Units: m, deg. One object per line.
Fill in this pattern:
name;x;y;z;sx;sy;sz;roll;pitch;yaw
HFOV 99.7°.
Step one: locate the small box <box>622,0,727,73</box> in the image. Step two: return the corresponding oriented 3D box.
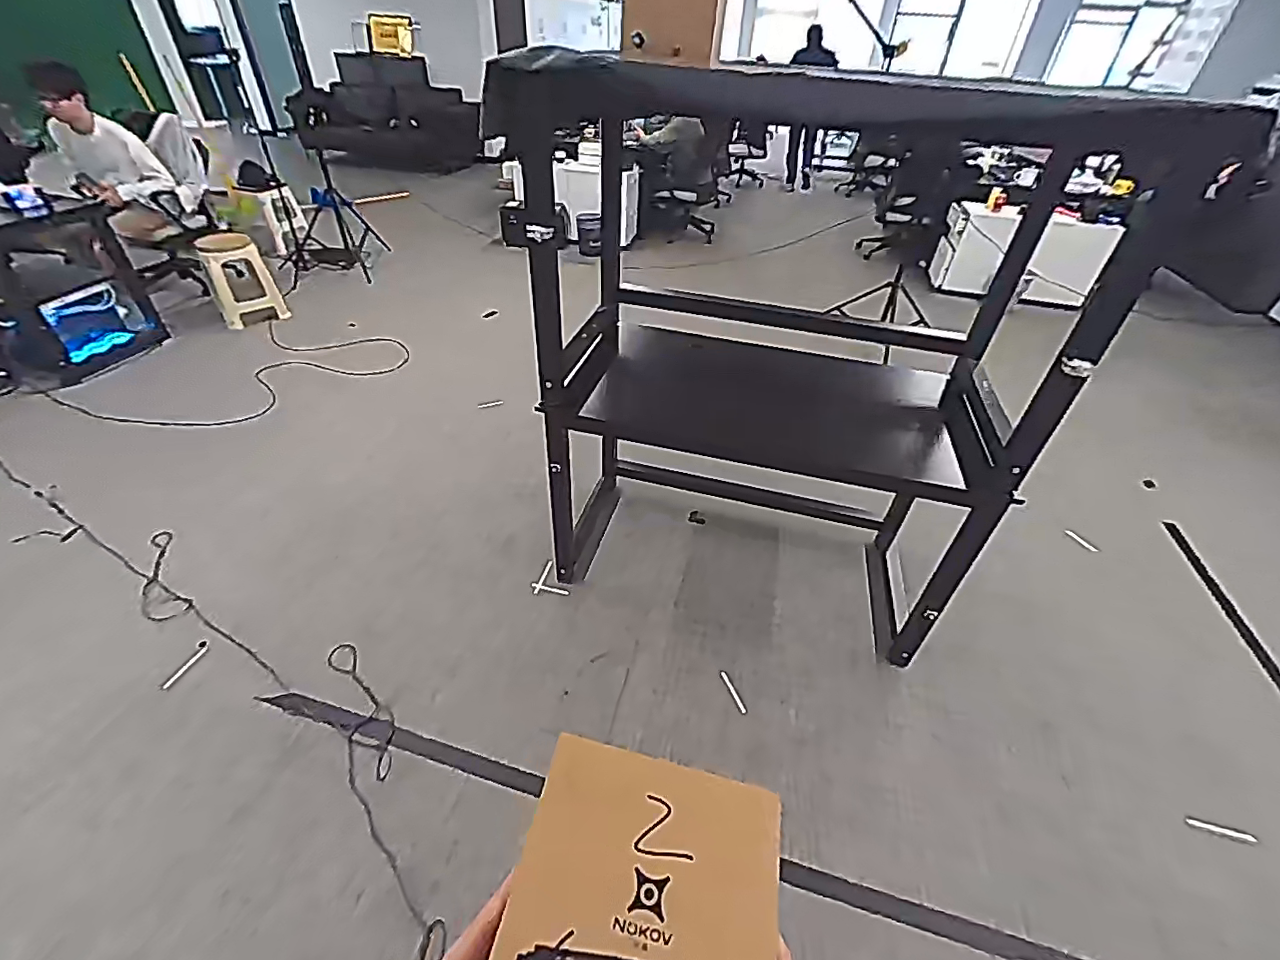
small box;0.065;-0.843;0.972;0.168;0.176;0.179;11;38;7
